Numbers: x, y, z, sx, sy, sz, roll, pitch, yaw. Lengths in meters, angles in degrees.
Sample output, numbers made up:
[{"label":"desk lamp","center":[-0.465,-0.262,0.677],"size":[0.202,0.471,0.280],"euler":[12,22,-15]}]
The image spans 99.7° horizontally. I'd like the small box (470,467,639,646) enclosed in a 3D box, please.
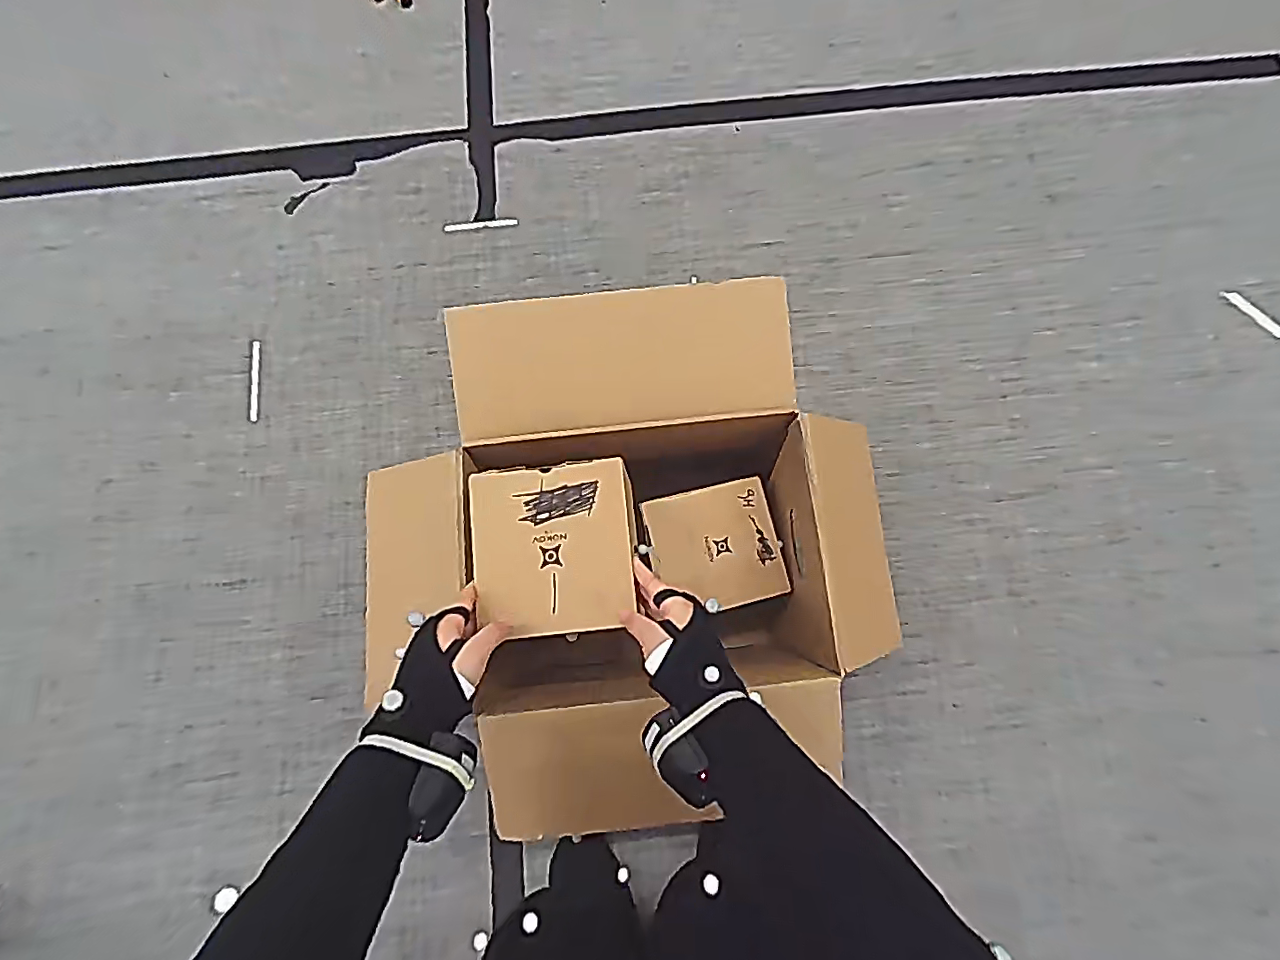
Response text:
[{"label":"small box","center":[-0.092,0.092,0.642],"size":[0.168,0.176,0.179],"euler":[-6,80,2]}]
